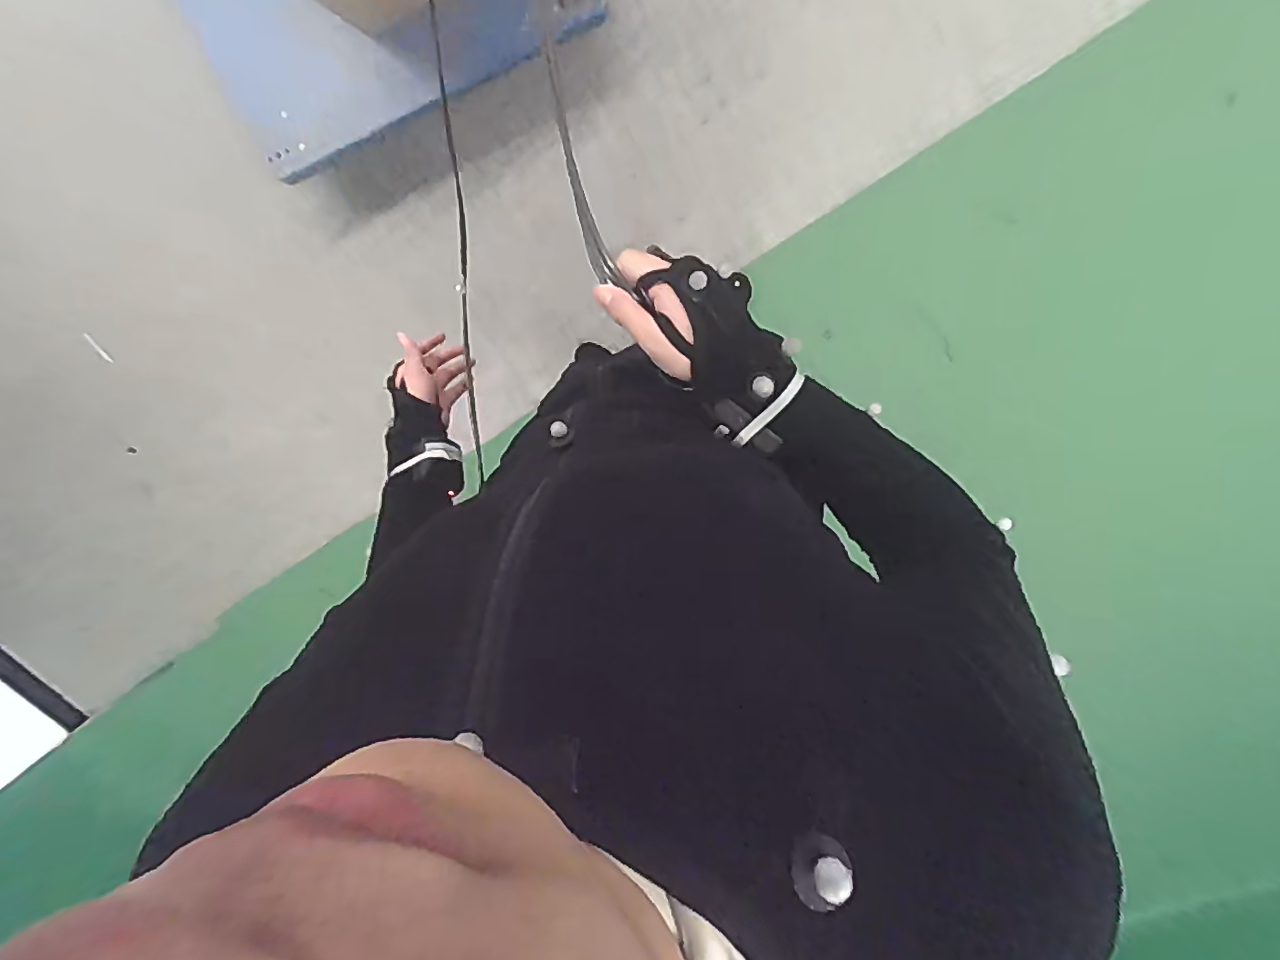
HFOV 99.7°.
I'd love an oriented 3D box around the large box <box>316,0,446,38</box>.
[{"bbox_3d":[-0.445,-1.071,0.927,0.408,0.320,0.320,-17,110,12],"label":"large box"}]
